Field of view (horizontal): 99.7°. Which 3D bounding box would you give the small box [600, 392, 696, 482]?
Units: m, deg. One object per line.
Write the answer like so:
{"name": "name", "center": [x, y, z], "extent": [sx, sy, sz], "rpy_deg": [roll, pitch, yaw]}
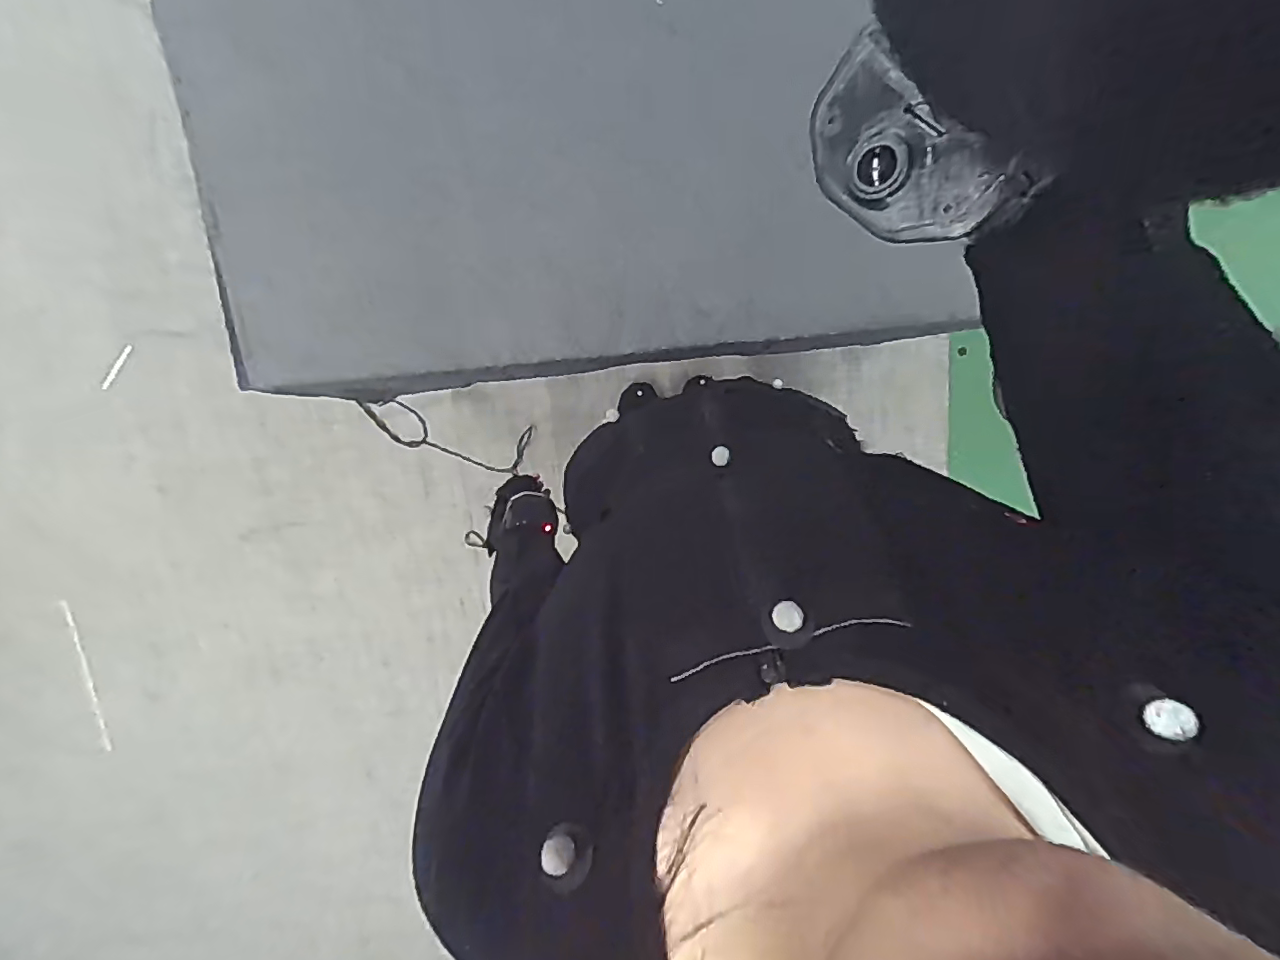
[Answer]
{"name": "small box", "center": [0.015, -0.116, 1.401], "extent": [0.179, 0.176, 0.168], "rpy_deg": [35, 110, 12]}
